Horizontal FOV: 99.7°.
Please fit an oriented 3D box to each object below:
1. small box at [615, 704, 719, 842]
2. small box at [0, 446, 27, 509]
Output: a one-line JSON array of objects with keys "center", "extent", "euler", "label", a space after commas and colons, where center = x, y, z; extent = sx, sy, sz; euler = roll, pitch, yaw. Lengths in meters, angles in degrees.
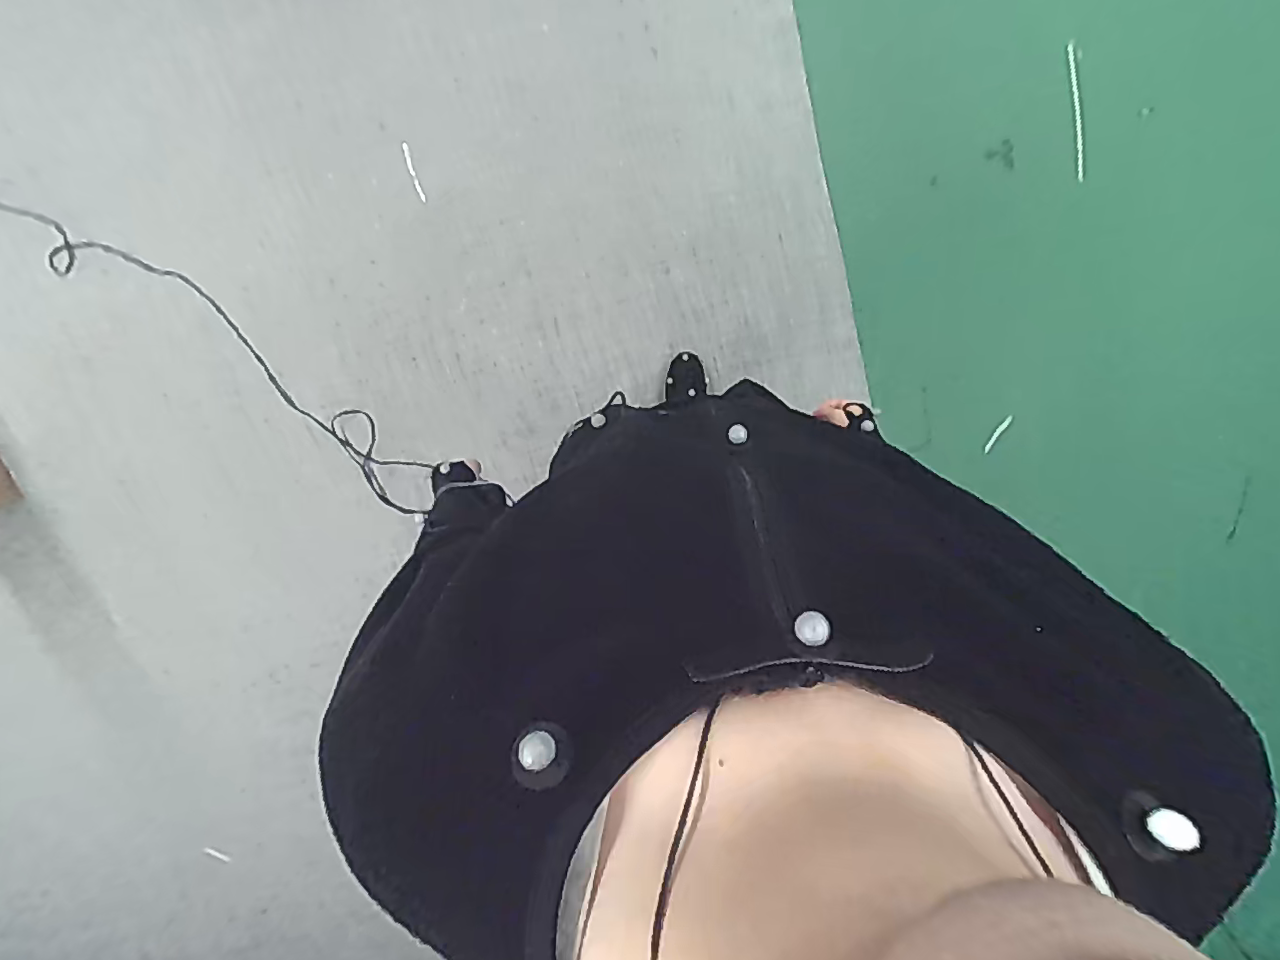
[{"center": [0.052, 0.595, 1.116], "extent": [0.179, 0.176, 0.168], "euler": [-13, 101, 1], "label": "small box"}, {"center": [-1.746, 0.012, 1.371], "extent": [0.168, 0.176, 0.179], "euler": [-17, 101, 1], "label": "small box"}]
